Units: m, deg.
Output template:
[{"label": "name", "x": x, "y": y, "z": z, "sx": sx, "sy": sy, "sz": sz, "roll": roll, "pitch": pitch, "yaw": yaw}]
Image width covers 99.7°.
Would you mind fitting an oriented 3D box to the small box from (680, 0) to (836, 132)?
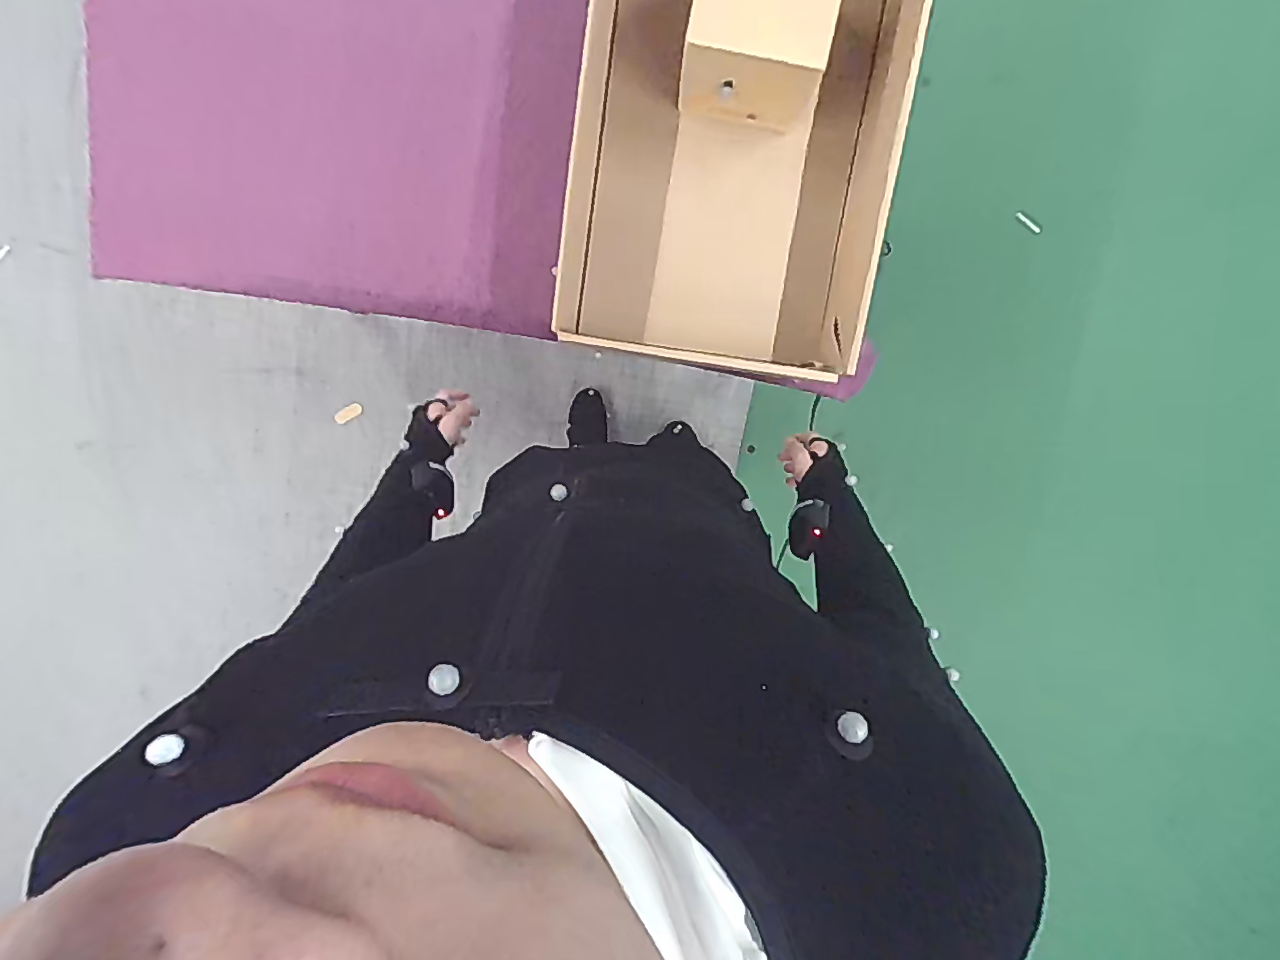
[{"label": "small box", "x": 0.147, "y": -0.578, "z": 0.684, "sx": 0.168, "sy": 0.176, "sz": 0.179, "roll": 11, "pitch": 99, "yaw": 0}]
